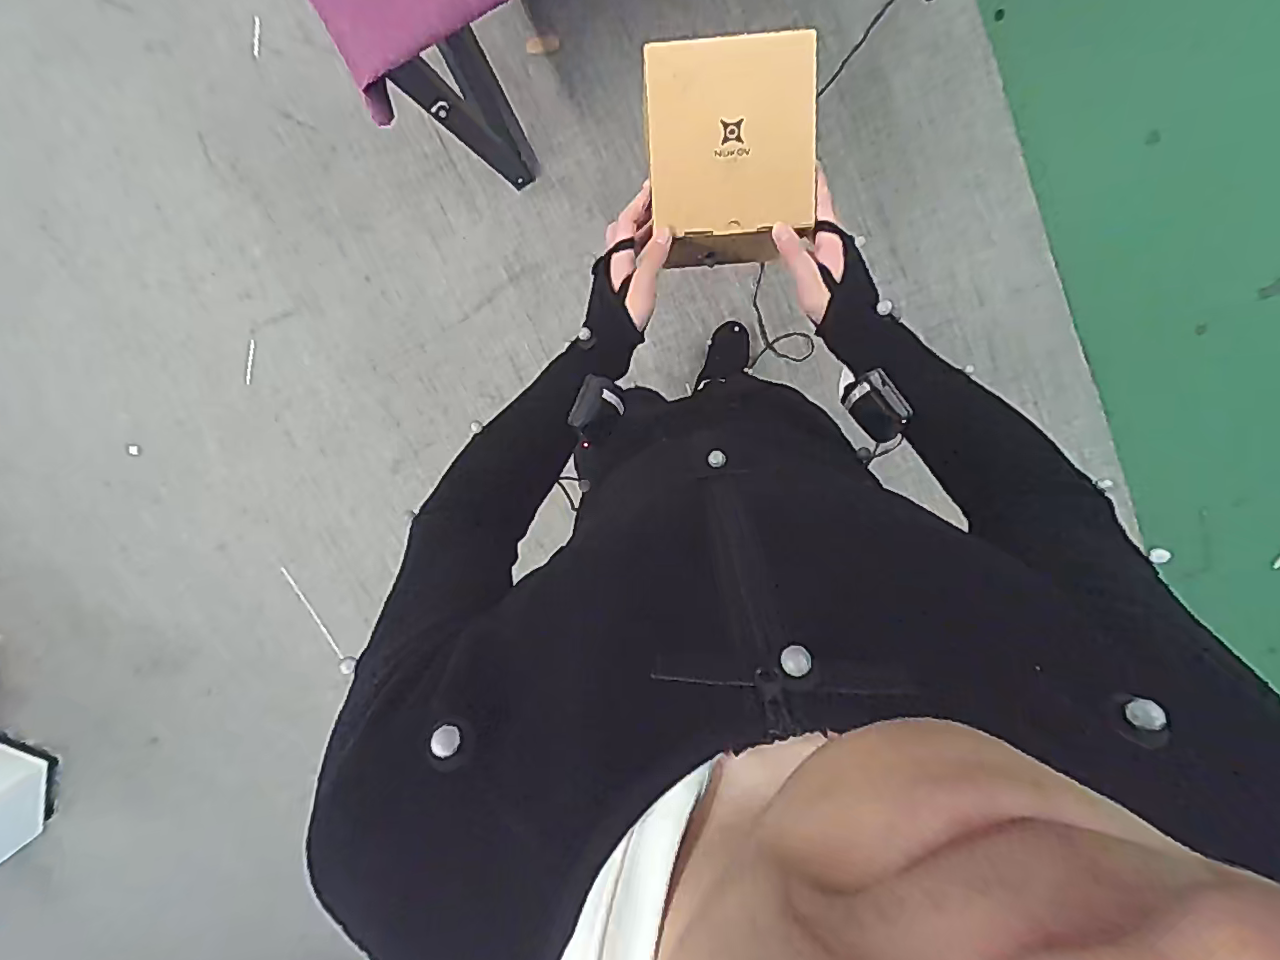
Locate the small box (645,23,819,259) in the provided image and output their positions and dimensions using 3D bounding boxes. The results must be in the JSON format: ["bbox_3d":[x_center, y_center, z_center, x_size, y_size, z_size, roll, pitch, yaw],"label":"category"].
[{"bbox_3d":[0.092,-0.359,0.605,0.168,0.176,0.179,-3,103,2],"label":"small box"}]
